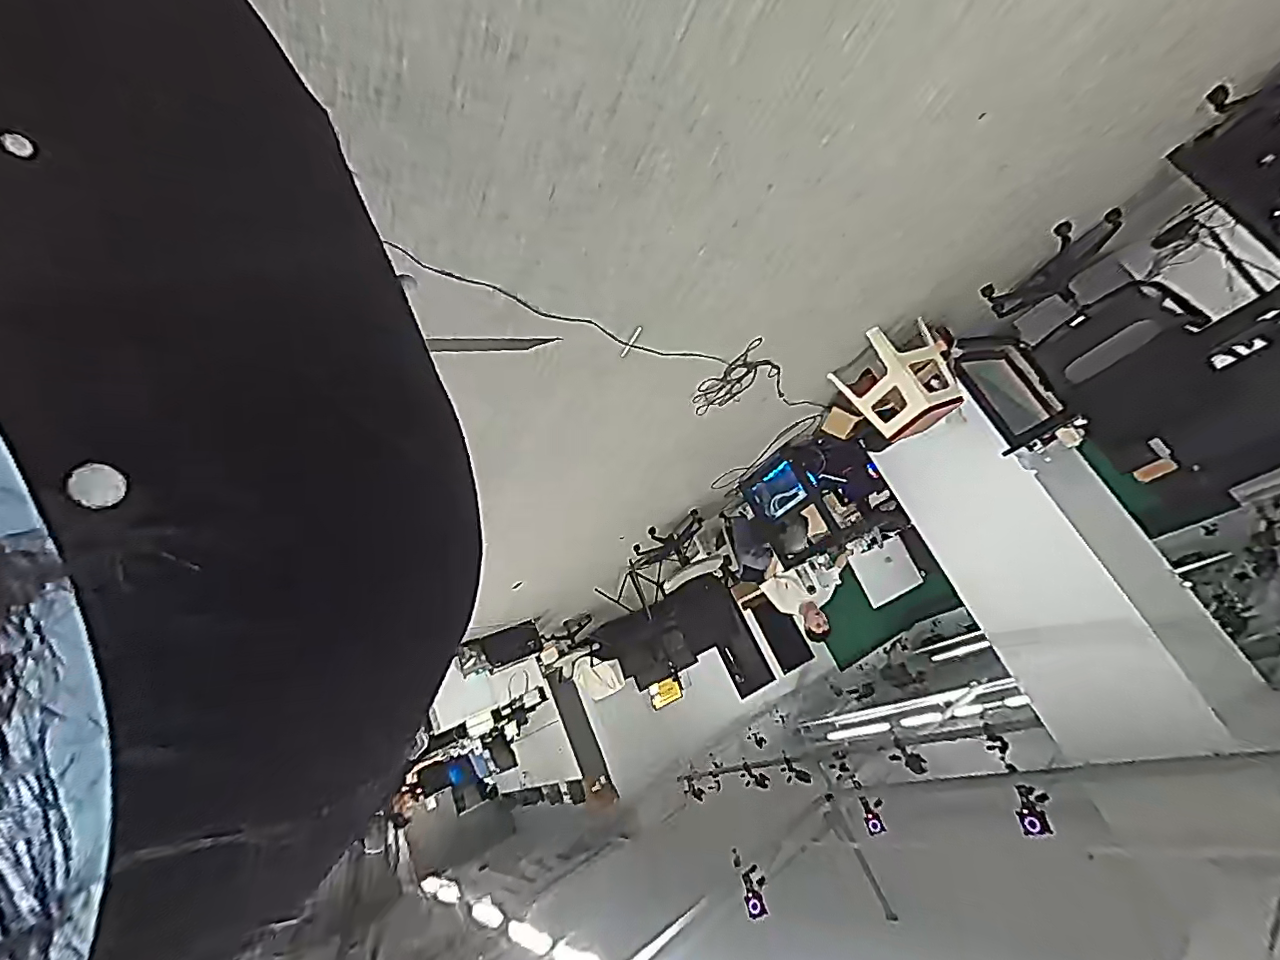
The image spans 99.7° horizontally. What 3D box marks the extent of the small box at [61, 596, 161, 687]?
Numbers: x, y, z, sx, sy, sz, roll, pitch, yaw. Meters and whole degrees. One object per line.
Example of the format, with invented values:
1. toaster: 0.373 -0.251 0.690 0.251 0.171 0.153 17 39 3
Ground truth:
1. small box: -1.440 0.437 1.478 0.168 0.176 0.179 -12 157 -39
